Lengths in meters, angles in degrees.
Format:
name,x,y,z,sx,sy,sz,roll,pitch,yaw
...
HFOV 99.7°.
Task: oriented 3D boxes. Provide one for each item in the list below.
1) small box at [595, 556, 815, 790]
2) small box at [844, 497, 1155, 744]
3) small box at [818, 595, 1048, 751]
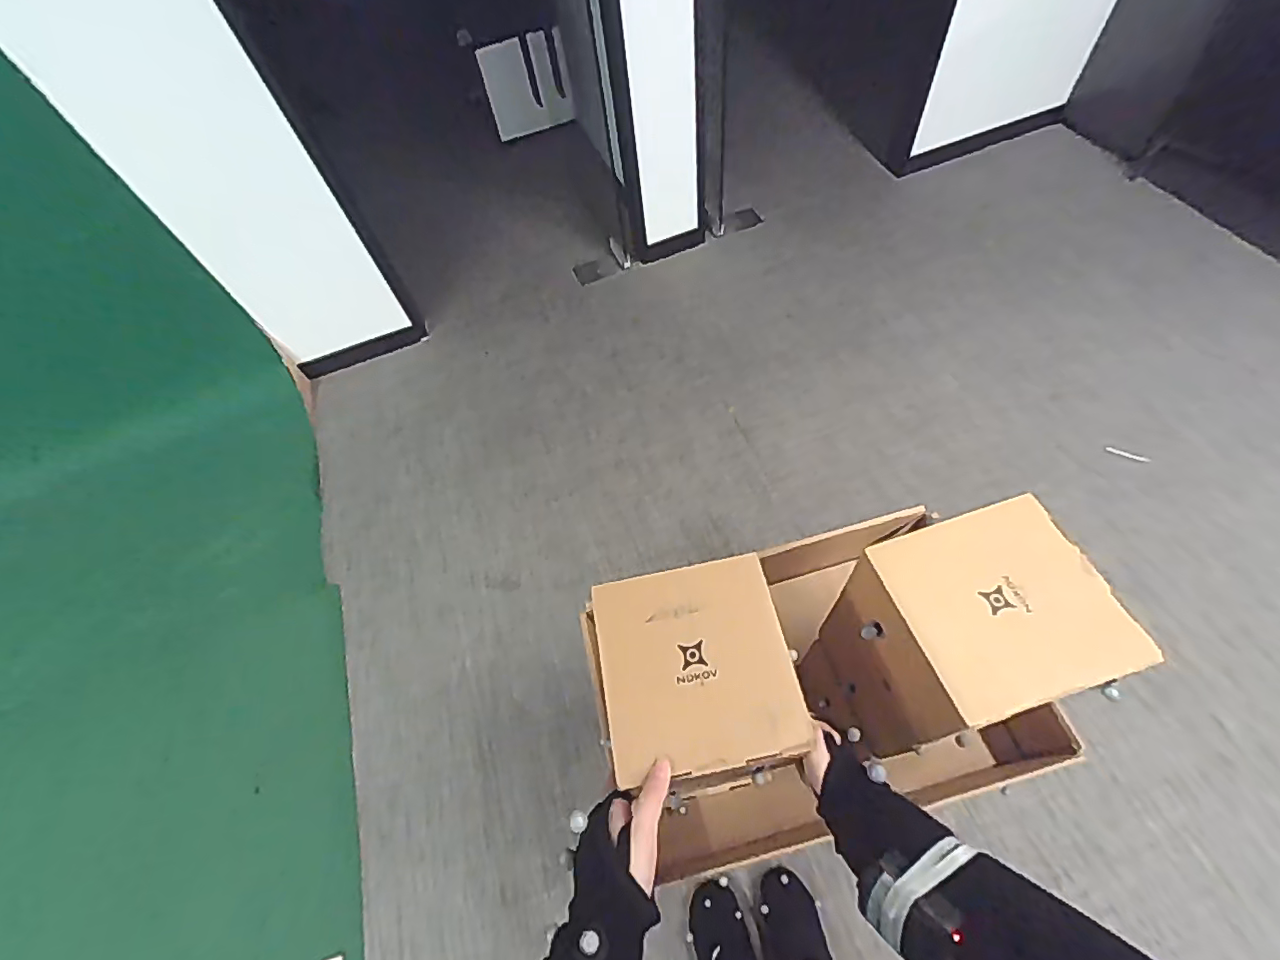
name,x,y,z,sx,sy,sz,roll,pitch,yaw
small box,0.057,0.200,0.541,0.168,0.176,0.179,-11,57,-1
small box,0.325,0.148,0.541,0.179,0.176,0.168,-18,58,-3
small box,0.347,0.227,0.682,0.168,0.176,0.179,-18,60,-4
